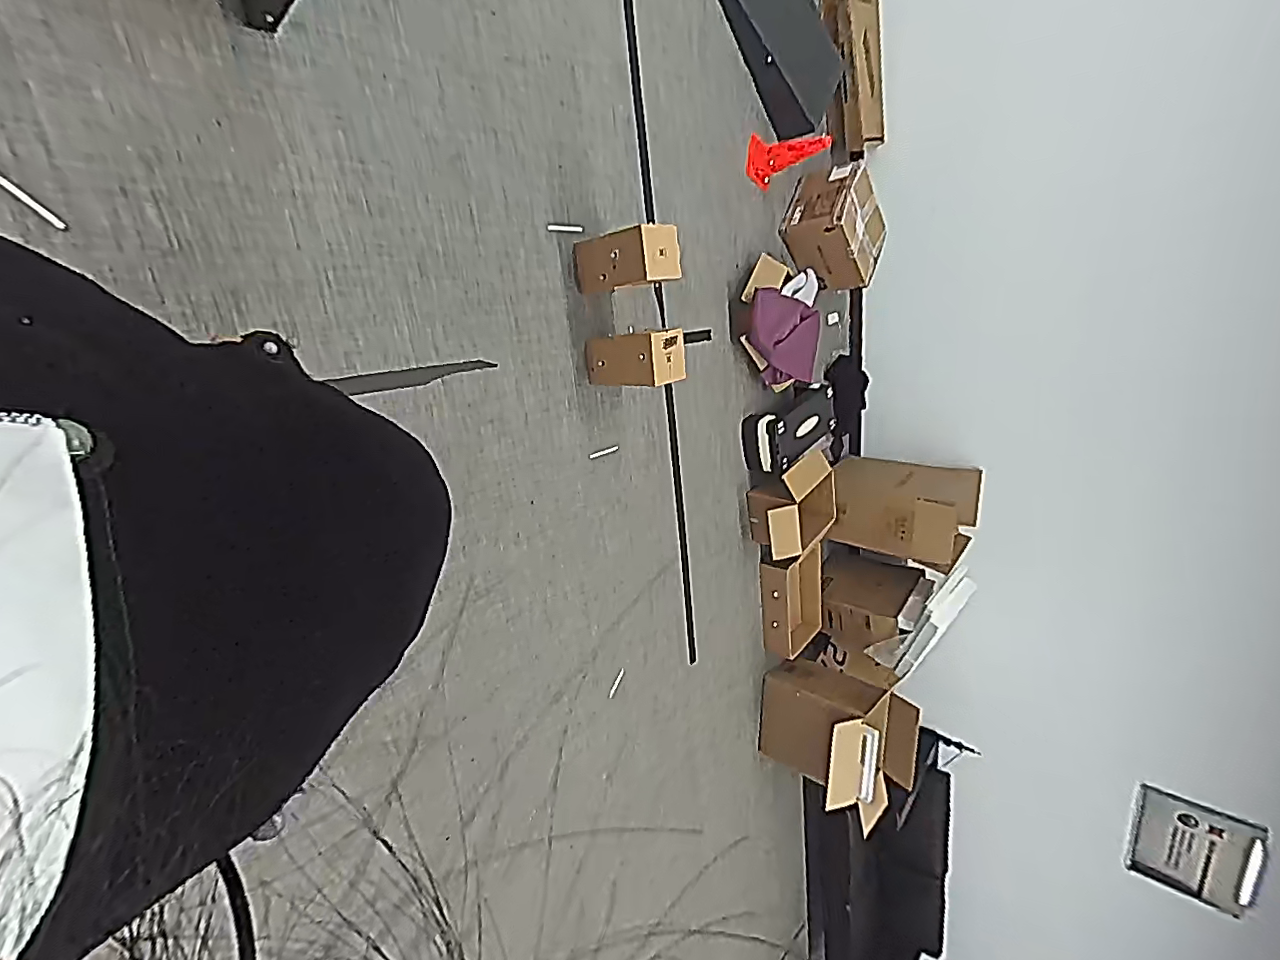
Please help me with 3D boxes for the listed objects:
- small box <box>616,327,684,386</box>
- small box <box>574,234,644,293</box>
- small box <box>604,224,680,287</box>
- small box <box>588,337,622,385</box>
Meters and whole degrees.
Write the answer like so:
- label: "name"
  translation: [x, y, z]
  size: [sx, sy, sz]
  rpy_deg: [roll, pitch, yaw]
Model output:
- label: "small box"
  translation: [0.031, -0.425, 1.863]
  size: [0.168, 0.176, 0.179]
  rpy_deg: [-24, 115, -42]
- label: "small box"
  translation: [-0.108, -0.754, 1.892]
  size: [0.168, 0.176, 0.179]
  rpy_deg: [-26, 115, -42]
- label: "small box"
  translation: [0.007, -0.735, 1.779]
  size: [0.179, 0.176, 0.168]
  rpy_deg: [-24, 112, -41]
- label: "small box"
  translation: [-0.077, -0.442, 1.988]
  size: [0.179, 0.176, 0.168]
  rpy_deg: [-20, 112, -42]
